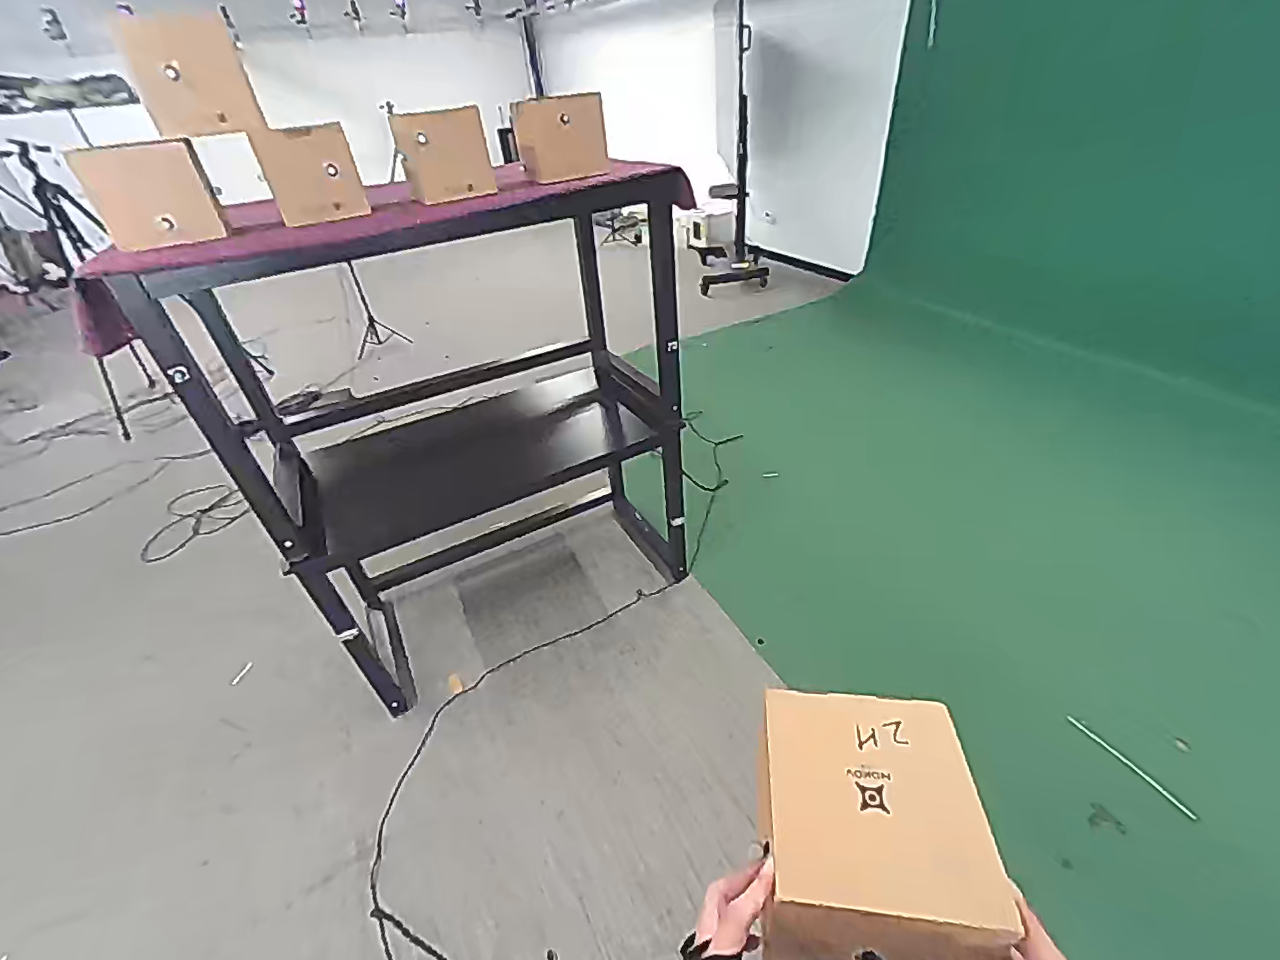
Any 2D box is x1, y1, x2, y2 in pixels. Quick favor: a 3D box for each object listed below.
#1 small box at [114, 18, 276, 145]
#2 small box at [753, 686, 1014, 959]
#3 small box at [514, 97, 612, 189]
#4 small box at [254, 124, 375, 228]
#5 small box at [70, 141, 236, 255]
[{"bbox_3d":[-0.799,-0.725,0.994,0.168,0.176,0.179,-21,38,-20],"label":"small box"},{"bbox_3d":[0.191,0.317,0.486,0.168,0.176,0.179,2,34,9],"label":"small box"},{"bbox_3d":[-0.185,-0.820,1.321,0.179,0.176,0.168,-20,38,-20],"label":"small box"},{"bbox_3d":[-0.670,-0.634,1.131,0.168,0.176,0.179,-19,37,-19],"label":"small box"},{"bbox_3d":[-0.908,-0.542,1.032,0.179,0.176,0.168,-21,38,-23],"label":"small box"}]
